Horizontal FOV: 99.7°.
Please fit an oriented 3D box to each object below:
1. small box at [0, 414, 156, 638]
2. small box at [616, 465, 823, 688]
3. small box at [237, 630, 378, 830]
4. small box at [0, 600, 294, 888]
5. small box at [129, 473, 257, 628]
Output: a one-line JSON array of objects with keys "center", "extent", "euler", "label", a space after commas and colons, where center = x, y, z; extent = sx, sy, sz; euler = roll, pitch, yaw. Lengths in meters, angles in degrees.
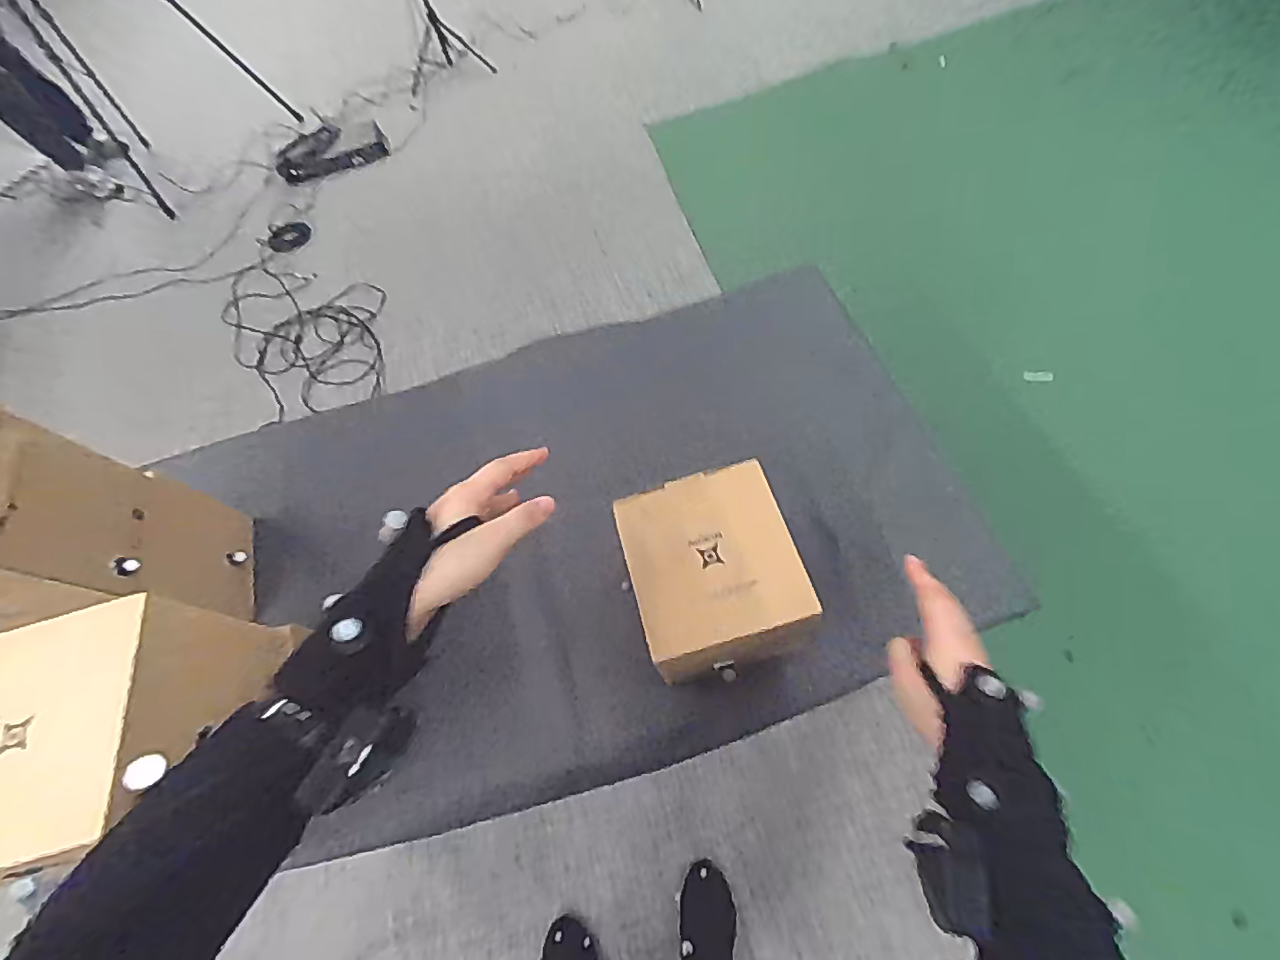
[{"center": [-0.660, 0.064, 0.562], "extent": [0.179, 0.176, 0.168], "euler": [-20, 63, -2], "label": "small box"}, {"center": [0.082, 0.114, 0.606], "extent": [0.168, 0.176, 0.179], "euler": [-17, 61, 1], "label": "small box"}, {"center": [-0.412, 0.281, 0.597], "extent": [0.179, 0.176, 0.168], "euler": [-16, 61, 0], "label": "small box"}, {"center": [-0.423, 0.216, 0.448], "extent": [0.179, 0.176, 0.168], "euler": [-17, 62, 0], "label": "small box"}, {"center": [-0.644, 0.124, 0.715], "extent": [0.168, 0.176, 0.179], "euler": [-21, 62, -3], "label": "small box"}]
